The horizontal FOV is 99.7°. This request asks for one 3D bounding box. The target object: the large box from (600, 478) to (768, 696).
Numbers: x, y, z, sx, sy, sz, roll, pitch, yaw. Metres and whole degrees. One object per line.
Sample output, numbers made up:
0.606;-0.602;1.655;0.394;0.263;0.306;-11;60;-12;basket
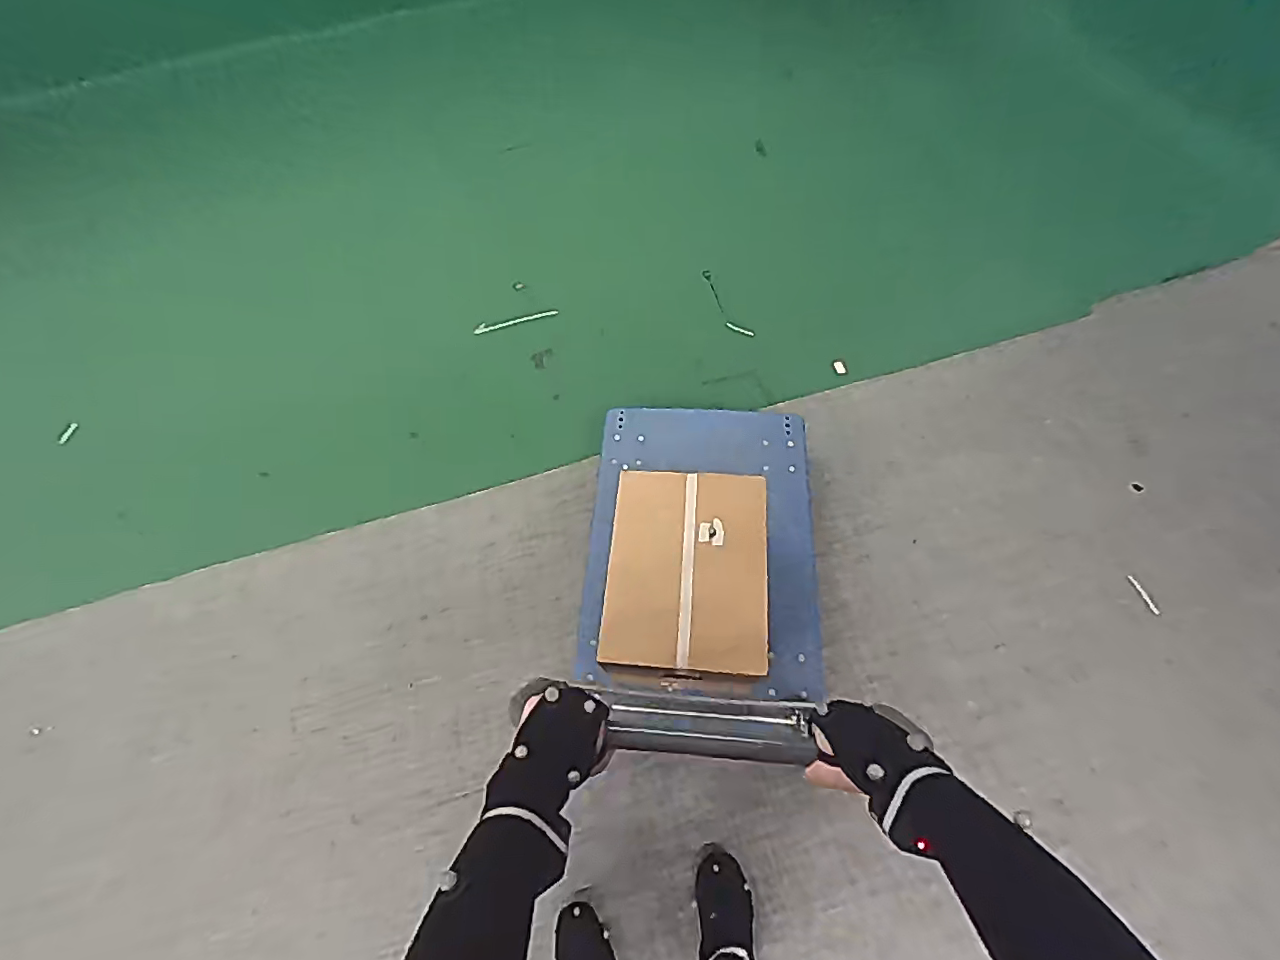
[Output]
0.102;0.246;1.206;0.320;0.320;0.408;3;62;5;large box
